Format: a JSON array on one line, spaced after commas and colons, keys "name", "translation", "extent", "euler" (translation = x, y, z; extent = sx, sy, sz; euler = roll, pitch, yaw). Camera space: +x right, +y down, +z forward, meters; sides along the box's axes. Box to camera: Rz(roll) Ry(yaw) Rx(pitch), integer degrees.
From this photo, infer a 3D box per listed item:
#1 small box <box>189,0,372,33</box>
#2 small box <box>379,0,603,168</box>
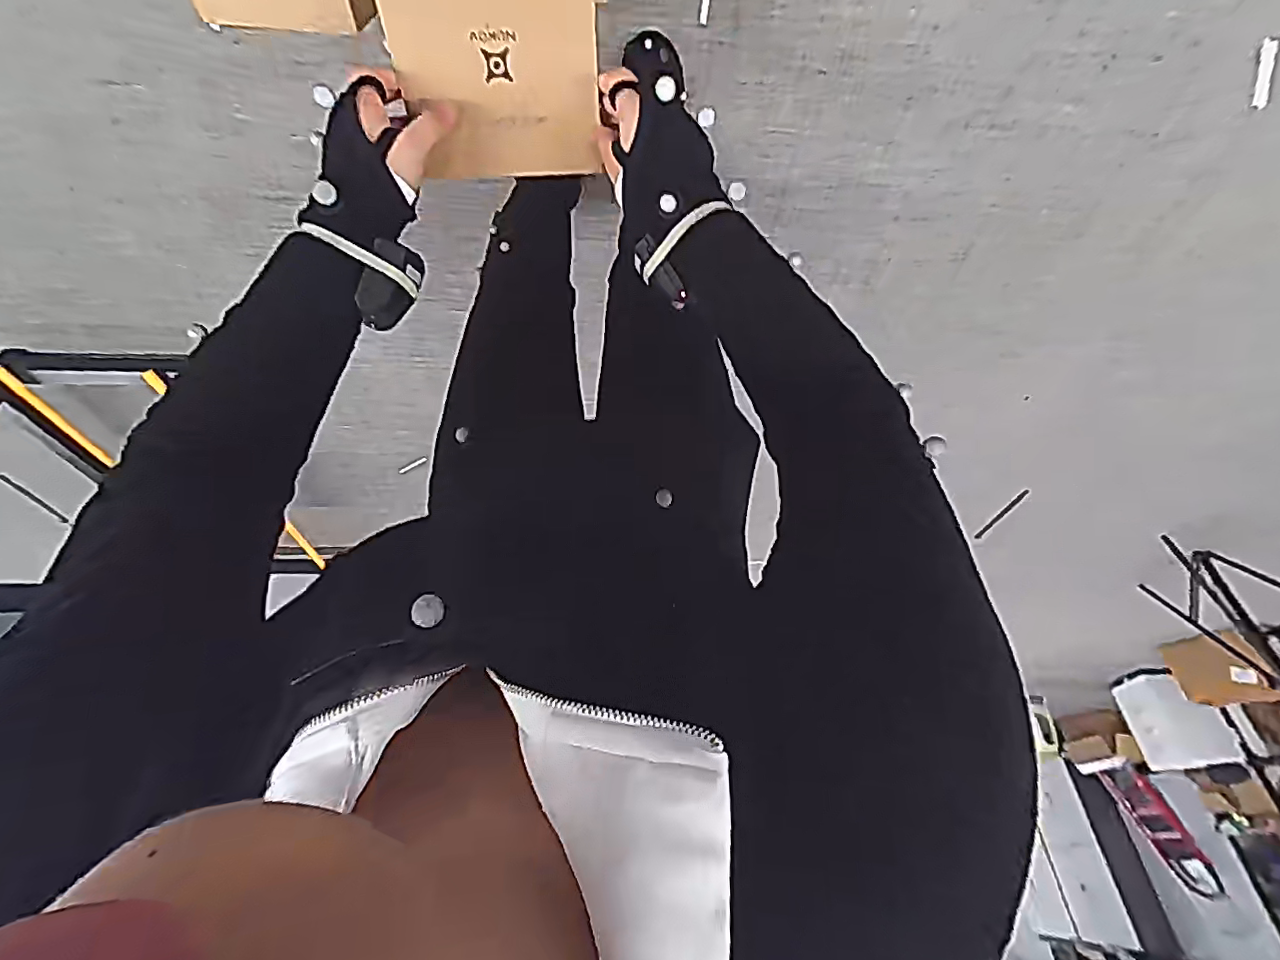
[{"name": "small box", "translation": [-0.411, -0.634, 0.601], "extent": [0.179, 0.176, 0.168], "euler": [2, 144, -5]}, {"name": "small box", "translation": [-0.121, -0.405, 0.485], "extent": [0.168, 0.176, 0.179], "euler": [-3, 139, -2]}]
